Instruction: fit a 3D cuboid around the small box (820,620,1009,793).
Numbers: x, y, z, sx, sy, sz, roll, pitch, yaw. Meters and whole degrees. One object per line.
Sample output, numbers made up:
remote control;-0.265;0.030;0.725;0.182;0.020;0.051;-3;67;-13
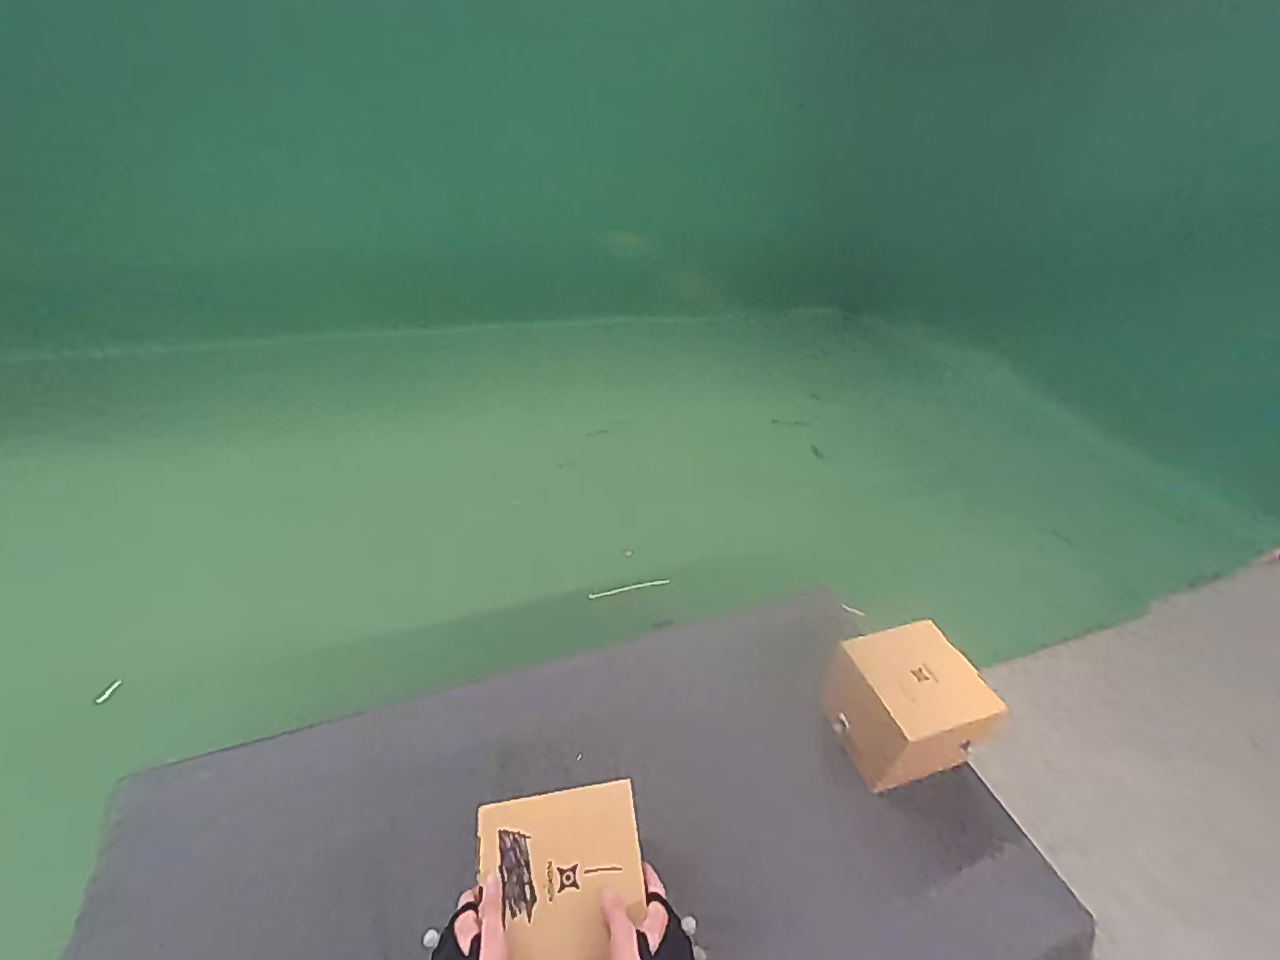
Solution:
small box;0.413;0.352;0.847;0.179;0.176;0.168;-10;39;-15

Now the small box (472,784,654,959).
small box;-0.081;0.472;0.613;0.179;0.176;0.168;-7;47;-6
